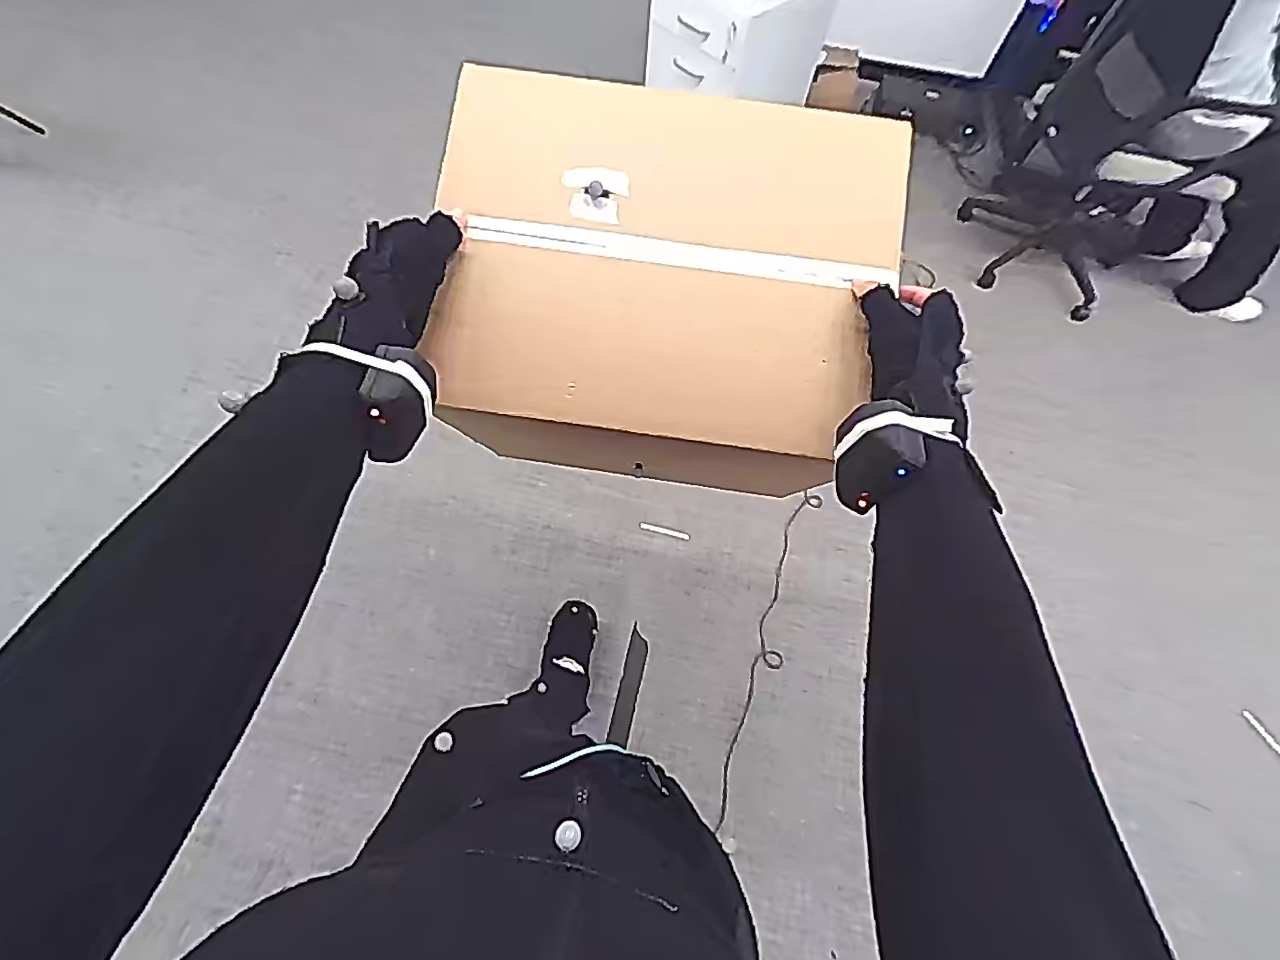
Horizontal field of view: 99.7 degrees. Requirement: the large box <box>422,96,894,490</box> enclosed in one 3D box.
[{"bbox_3d":[0.024,-0.172,0.637,0.408,0.320,0.320,8,83,1],"label":"large box"}]
